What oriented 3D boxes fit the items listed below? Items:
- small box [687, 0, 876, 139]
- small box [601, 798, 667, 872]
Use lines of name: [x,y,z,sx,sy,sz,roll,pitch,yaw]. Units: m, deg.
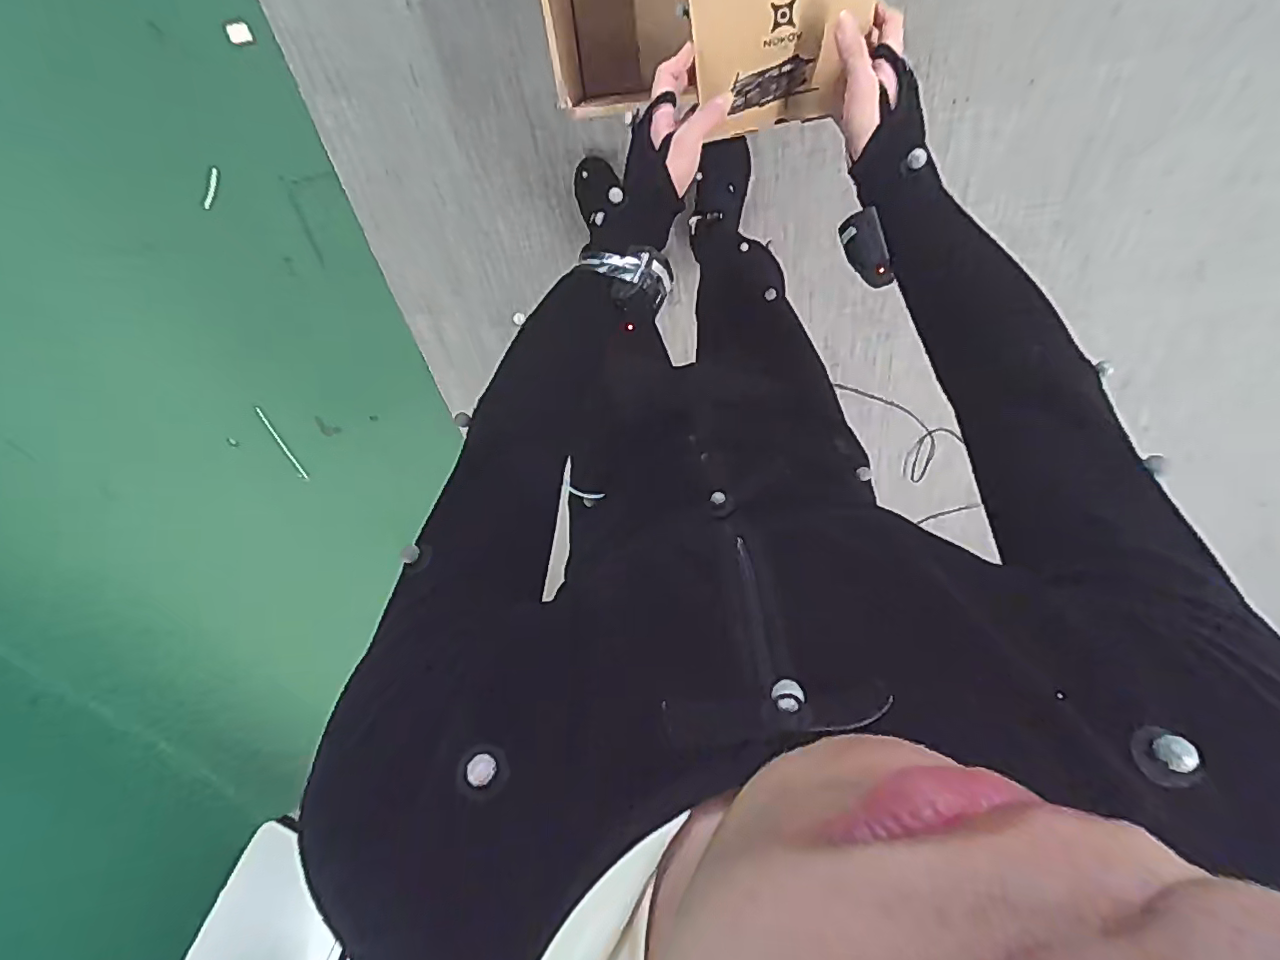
small box: [0.130,-0.482,0.533,0.168,0.176,0.179,-6,146,10]
small box: [-0.014,1.185,1.808,0.179,0.176,0.168,-10,128,13]
